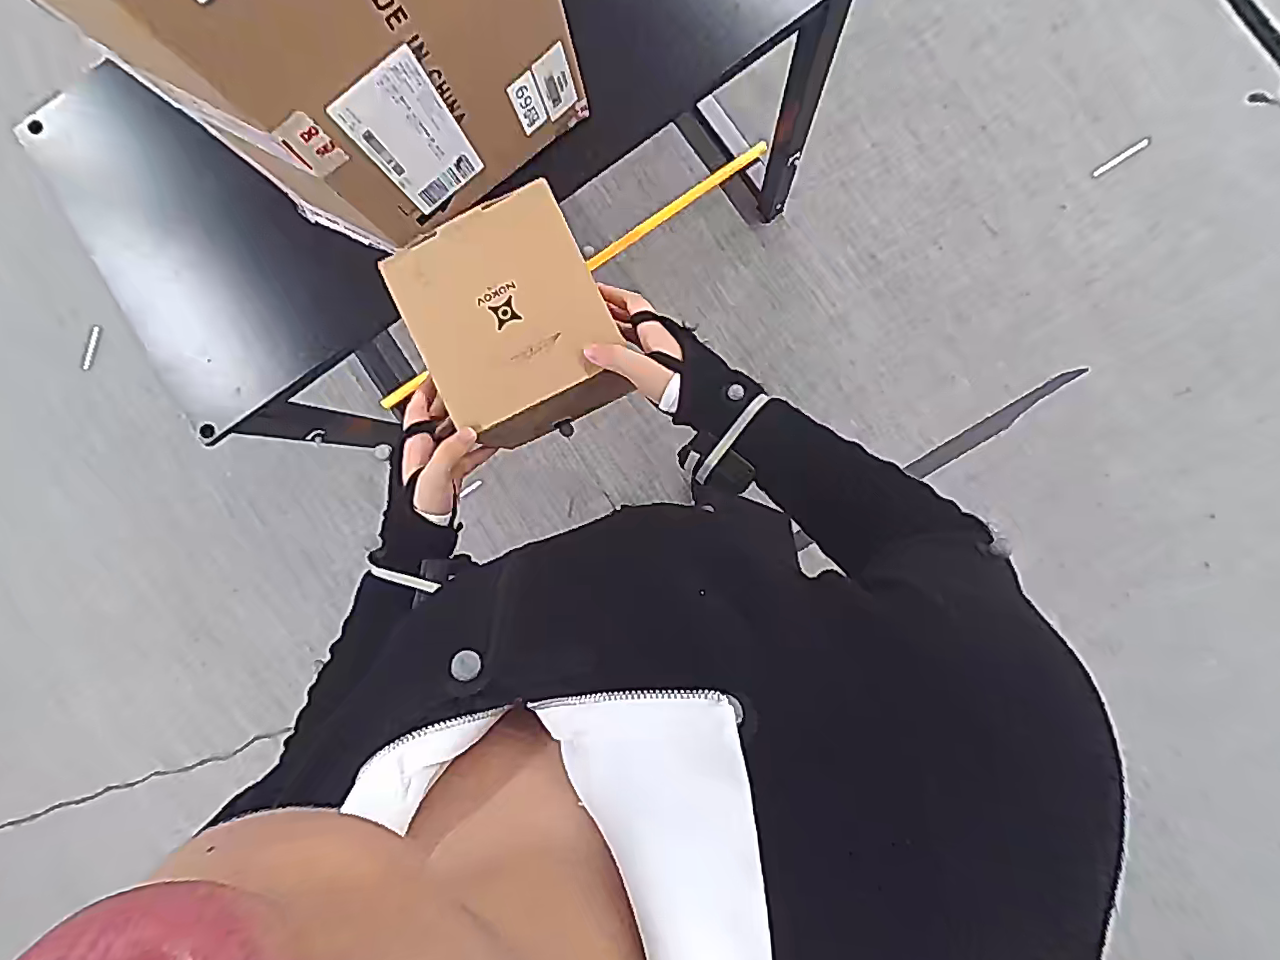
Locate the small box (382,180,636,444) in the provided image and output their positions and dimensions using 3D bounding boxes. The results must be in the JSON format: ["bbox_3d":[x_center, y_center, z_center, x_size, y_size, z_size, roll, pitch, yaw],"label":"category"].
[{"bbox_3d":[-0.114,-0.148,0.545,0.168,0.176,0.179,-26,89,3],"label":"small box"}]
